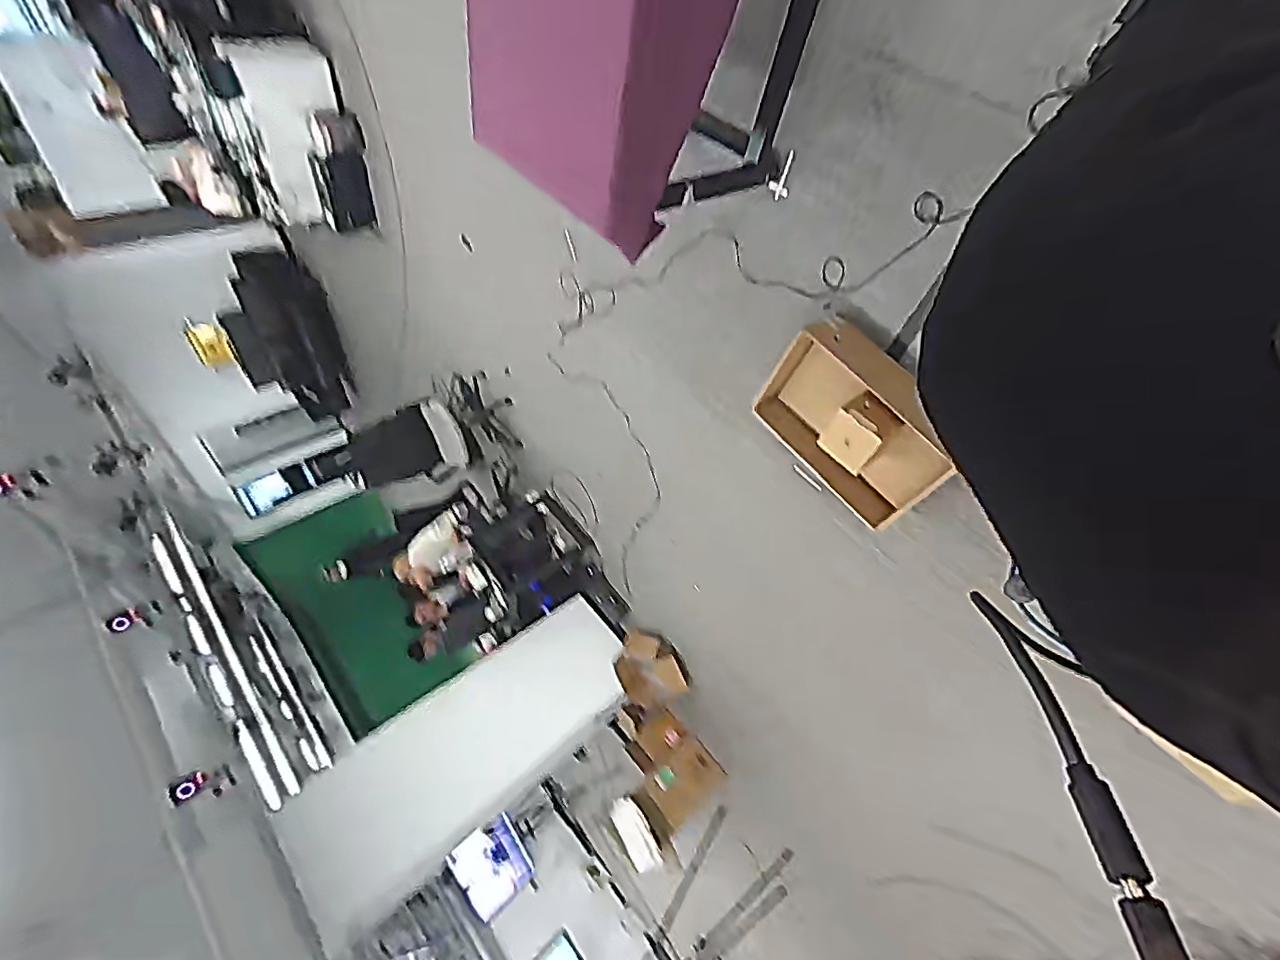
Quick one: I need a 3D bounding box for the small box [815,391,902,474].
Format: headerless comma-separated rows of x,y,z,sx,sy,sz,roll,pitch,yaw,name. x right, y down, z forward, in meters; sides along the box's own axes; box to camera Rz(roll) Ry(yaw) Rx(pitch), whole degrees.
0.707,-0.158,1.739,0.168,0.176,0.179,47,147,22,small box
